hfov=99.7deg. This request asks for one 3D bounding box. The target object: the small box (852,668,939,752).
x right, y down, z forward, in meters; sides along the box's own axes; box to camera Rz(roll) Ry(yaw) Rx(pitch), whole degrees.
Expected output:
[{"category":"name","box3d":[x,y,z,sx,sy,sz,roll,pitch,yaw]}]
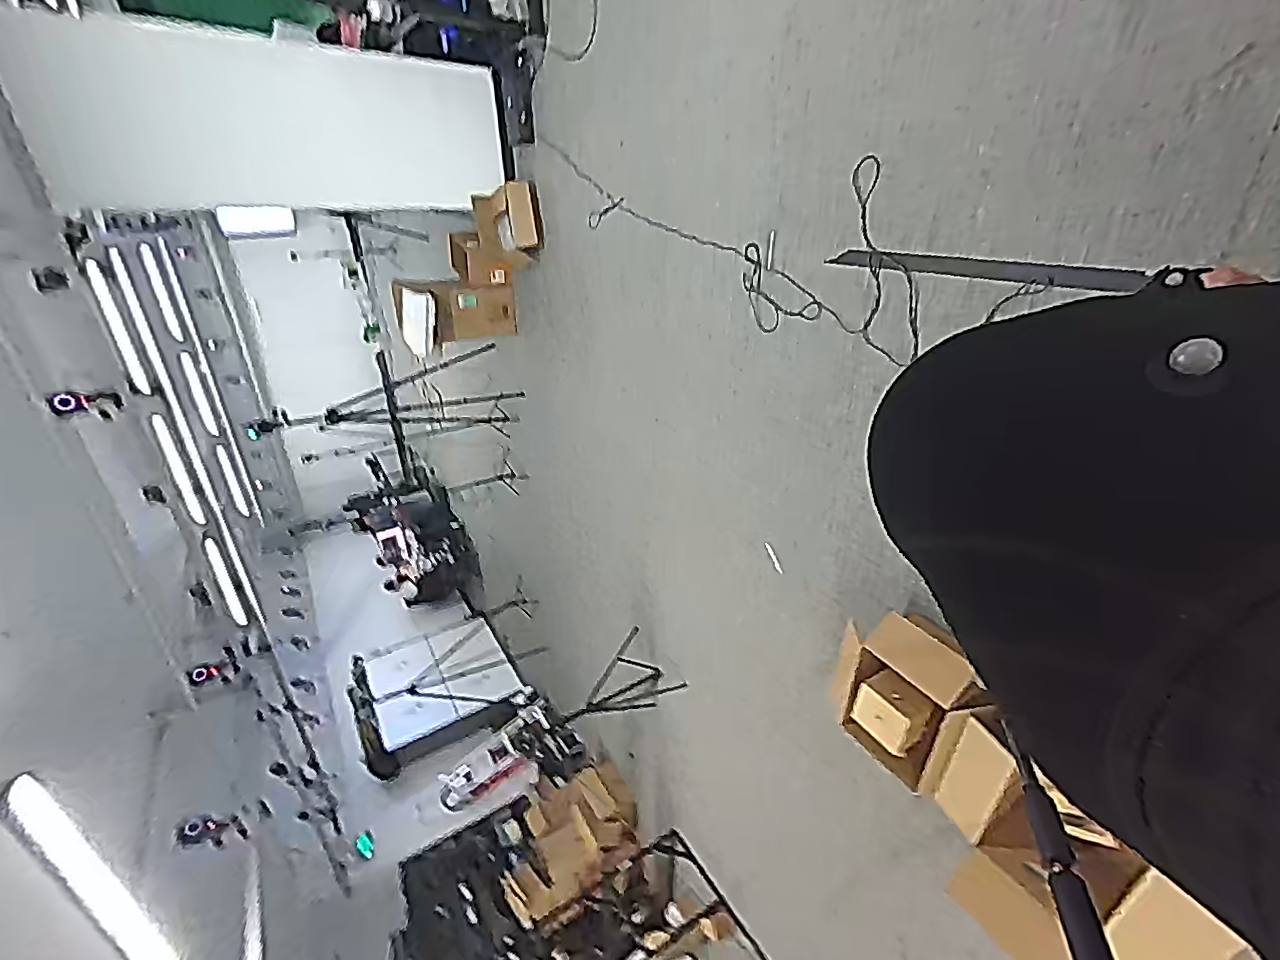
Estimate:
[{"category":"small box","box3d":[0.845,0.751,1.791,0.179,0.176,0.168,38,133,47]}]
